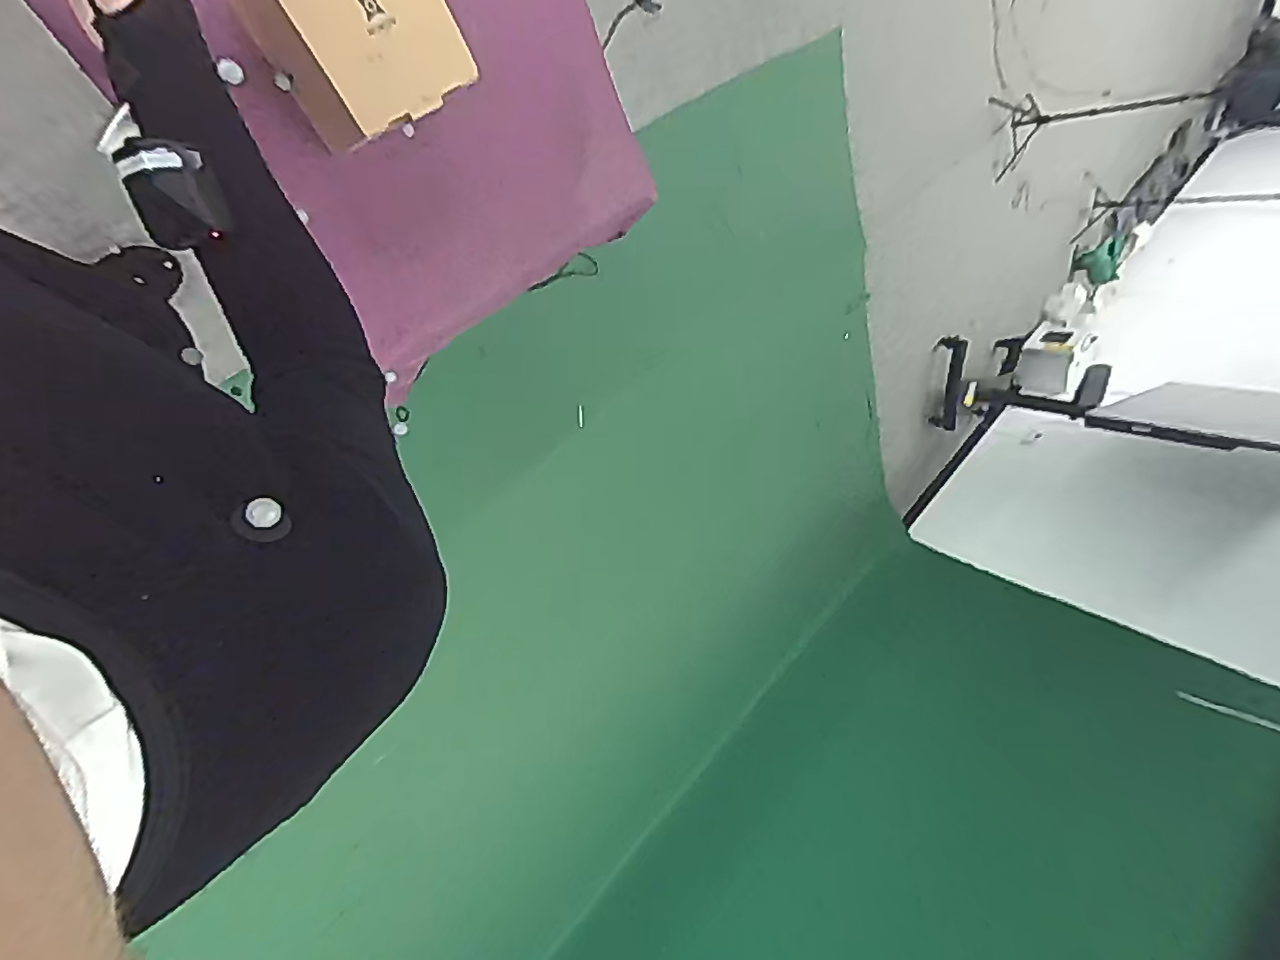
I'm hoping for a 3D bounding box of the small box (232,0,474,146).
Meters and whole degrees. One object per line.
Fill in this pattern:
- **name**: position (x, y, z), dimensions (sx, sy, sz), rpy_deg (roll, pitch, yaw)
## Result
- **small box**: position (-0.334, -0.518, 0.634), dimensions (0.168, 0.176, 0.179), rpy_deg (-43, 130, -19)
